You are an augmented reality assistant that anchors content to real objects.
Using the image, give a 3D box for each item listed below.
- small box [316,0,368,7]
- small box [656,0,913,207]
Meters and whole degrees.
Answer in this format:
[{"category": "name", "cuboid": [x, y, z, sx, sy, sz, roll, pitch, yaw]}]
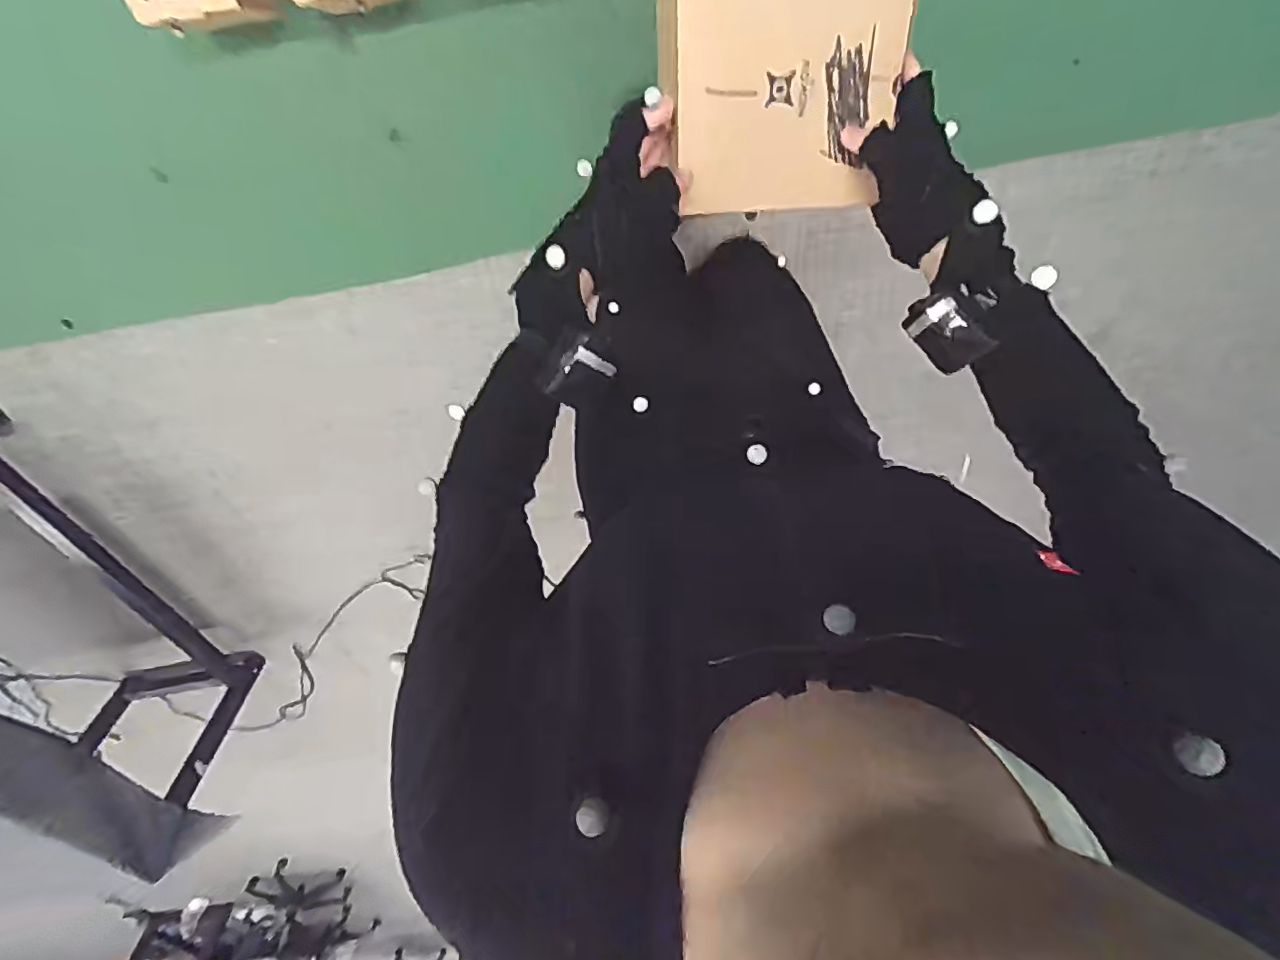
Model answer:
[{"category": "small box", "cuboid": [-0.485, -0.877, 0.849, 0.168, 0.176, 0.179, -10, 129, 3]}, {"category": "small box", "cuboid": [0.108, -0.346, 0.483, 0.179, 0.176, 0.168, -3, 122, -1]}]
